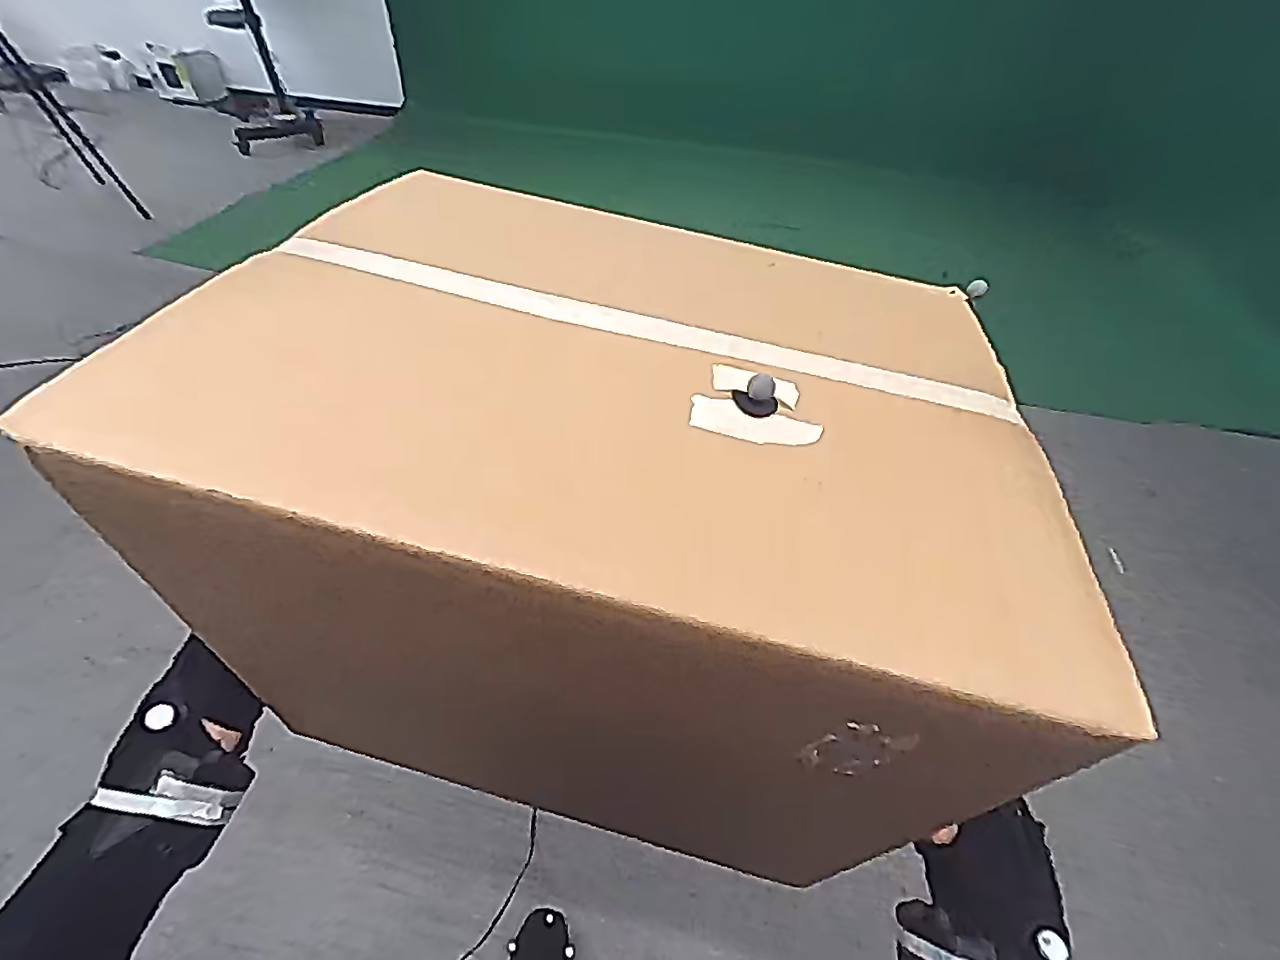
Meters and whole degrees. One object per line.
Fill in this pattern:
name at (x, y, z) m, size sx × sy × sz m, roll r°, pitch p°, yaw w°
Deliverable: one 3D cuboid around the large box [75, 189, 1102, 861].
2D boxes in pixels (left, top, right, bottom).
large box at (-0.019, 0.030, 0.407) m, size 0.408 × 0.320 × 0.320 m, roll 15°, pitch 47°, yaw 3°
